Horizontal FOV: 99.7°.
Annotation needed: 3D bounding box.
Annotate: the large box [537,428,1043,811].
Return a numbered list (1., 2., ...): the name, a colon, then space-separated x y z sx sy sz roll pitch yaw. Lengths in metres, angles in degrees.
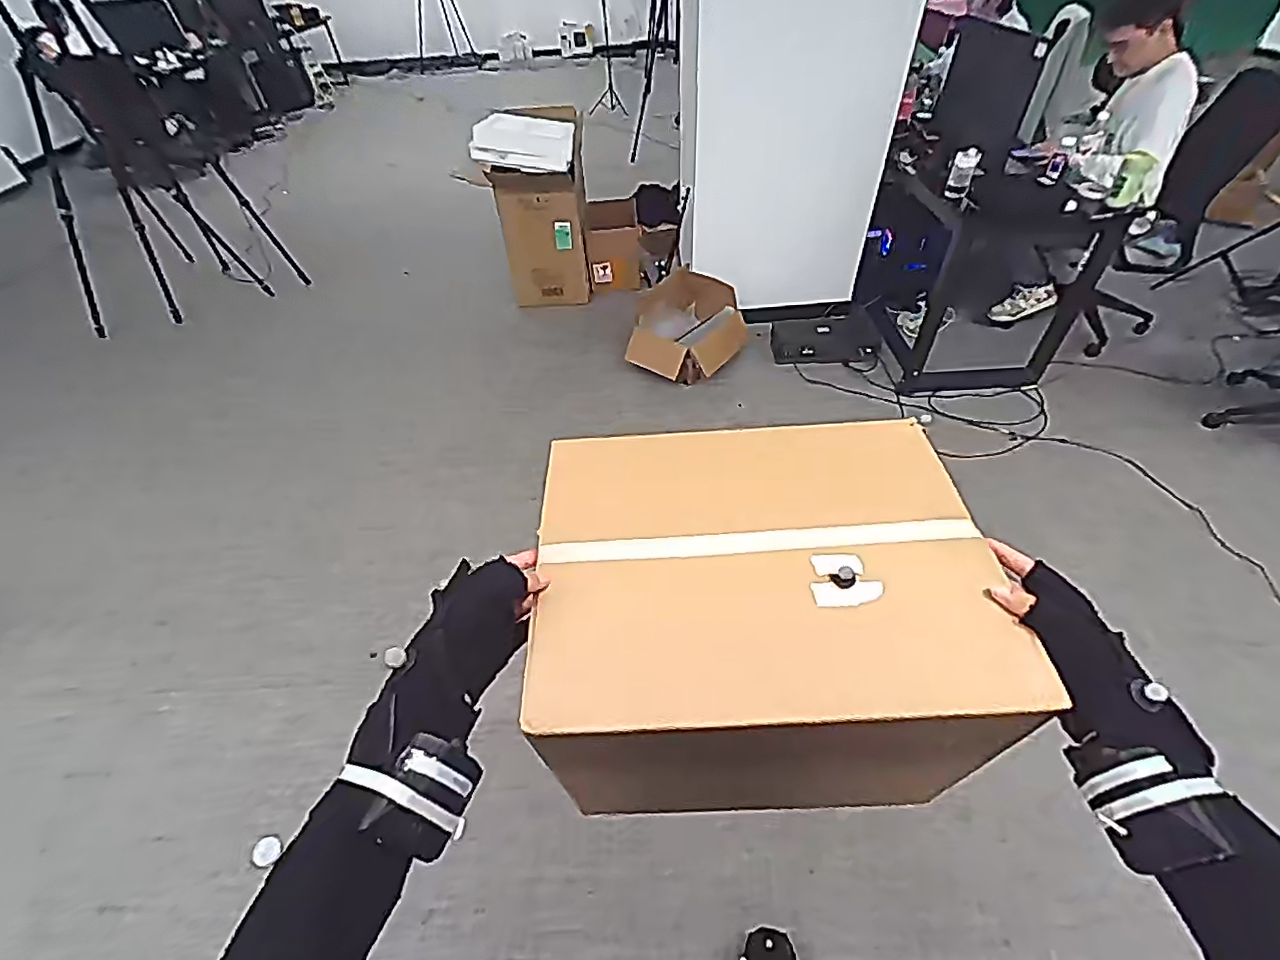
1. large box: 0.117 0.166 0.627 0.408 0.320 0.320 -3 49 1
